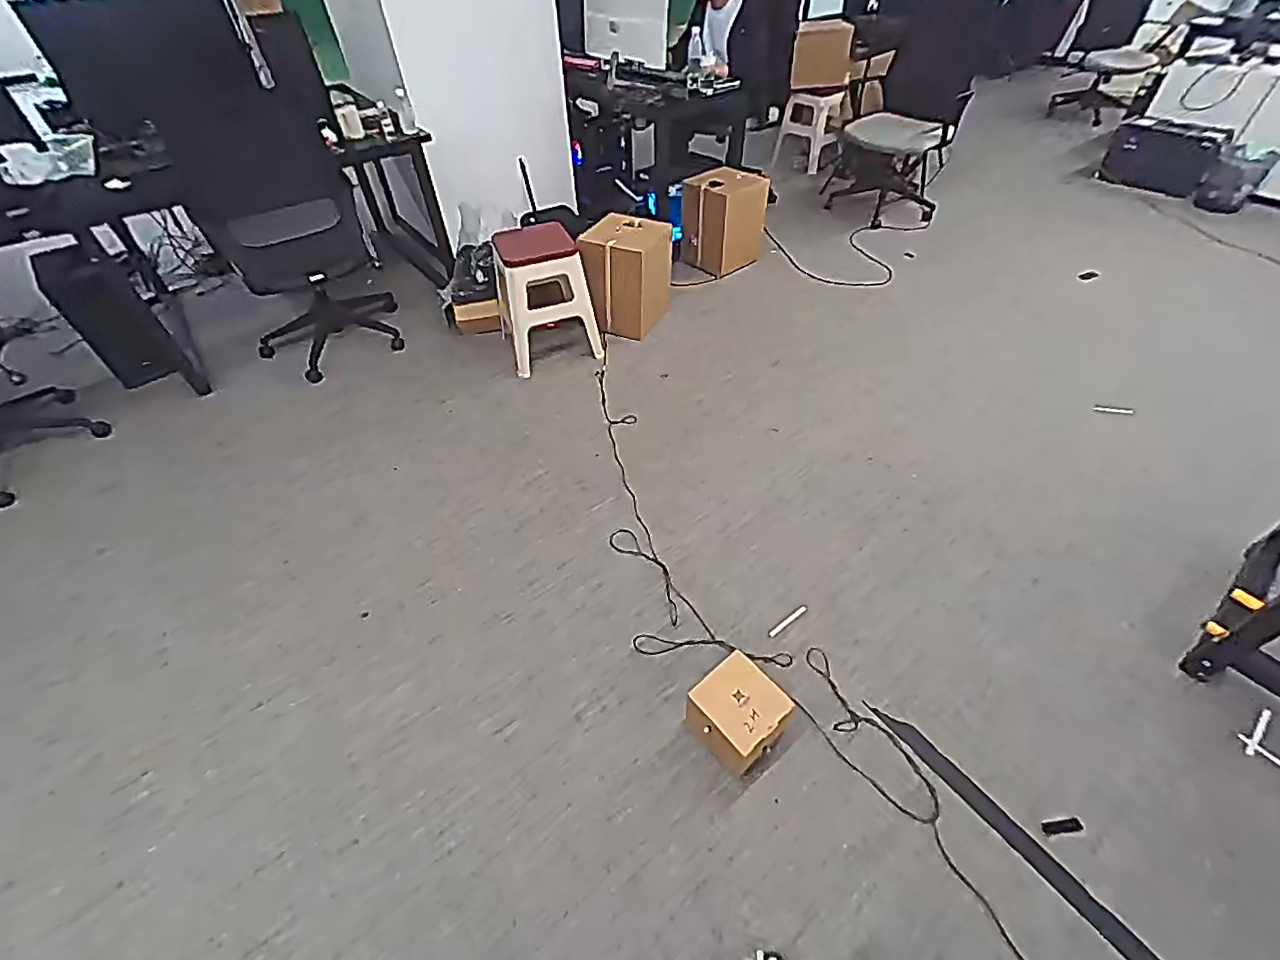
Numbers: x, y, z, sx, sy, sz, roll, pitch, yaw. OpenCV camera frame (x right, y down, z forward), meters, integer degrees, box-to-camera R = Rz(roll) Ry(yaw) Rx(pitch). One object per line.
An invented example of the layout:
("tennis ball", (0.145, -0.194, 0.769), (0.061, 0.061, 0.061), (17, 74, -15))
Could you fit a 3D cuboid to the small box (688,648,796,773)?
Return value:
("small box", (0.223, 0.529, 1.235), (0.168, 0.176, 0.179), (-33, 54, -24))
